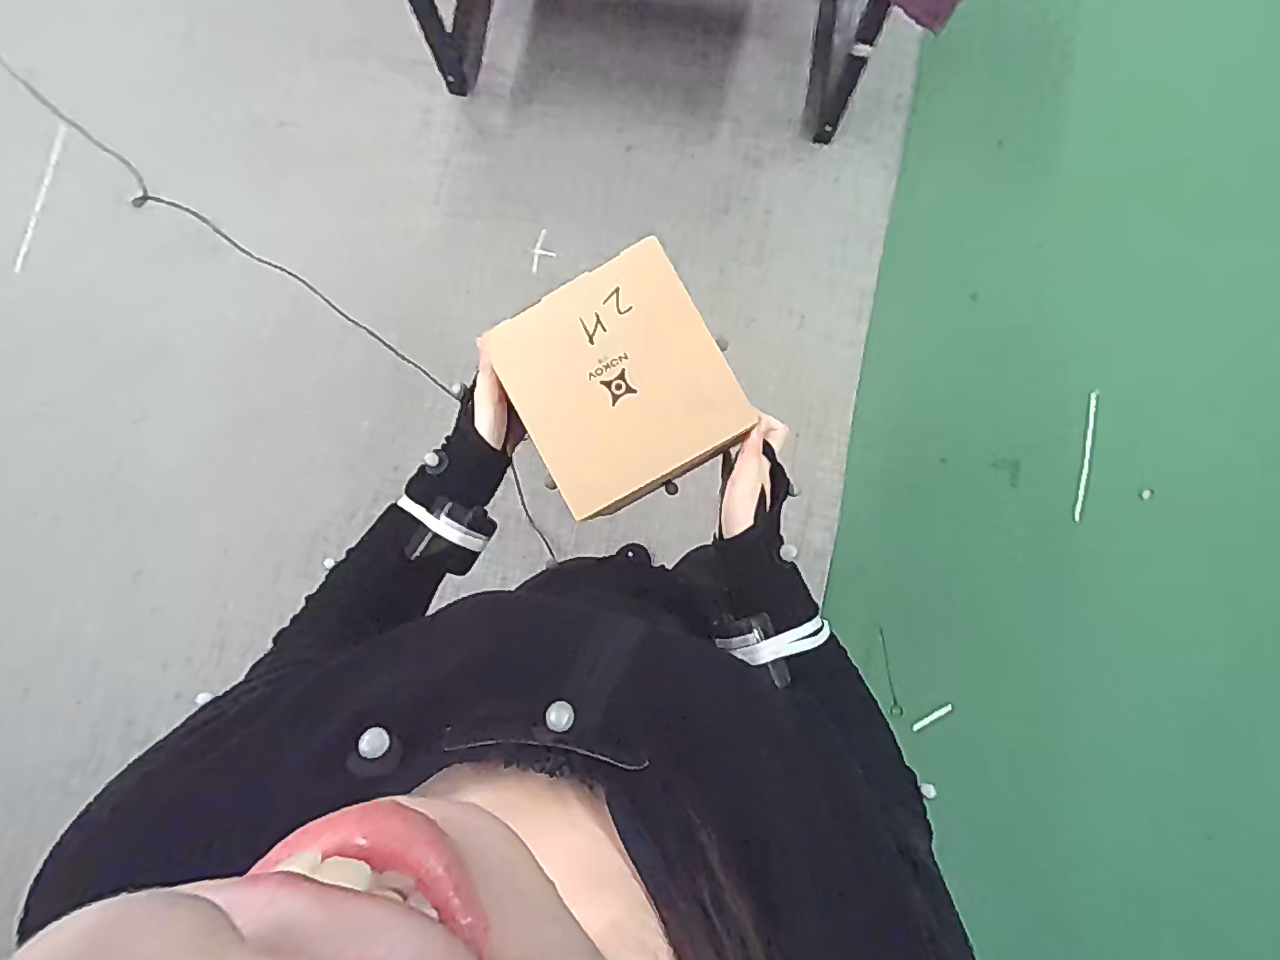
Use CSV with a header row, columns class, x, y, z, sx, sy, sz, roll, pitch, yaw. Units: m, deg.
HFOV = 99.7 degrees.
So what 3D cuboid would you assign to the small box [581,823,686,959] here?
class,x,y,z,sx,sy,sz,roll,pitch,yaw
small box,-0.015,0.868,1.139,0.168,0.176,0.179,19,84,2
